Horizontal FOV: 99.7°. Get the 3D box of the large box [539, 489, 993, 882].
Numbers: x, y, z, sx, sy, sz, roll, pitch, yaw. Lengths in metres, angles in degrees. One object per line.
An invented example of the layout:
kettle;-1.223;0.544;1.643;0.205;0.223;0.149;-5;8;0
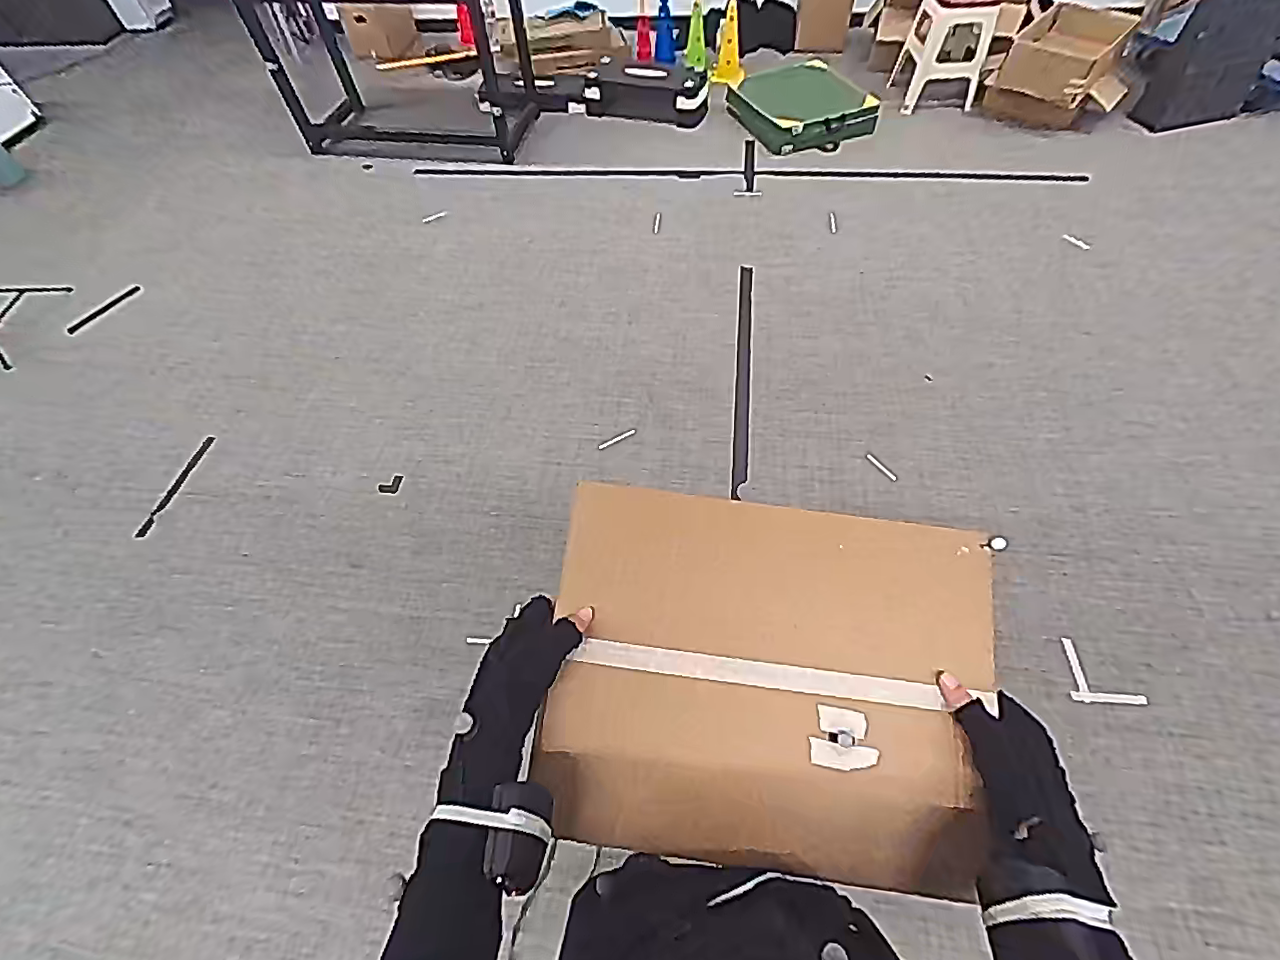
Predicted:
large box;0.123;0.216;0.651;0.408;0.320;0.320;7;76;3
